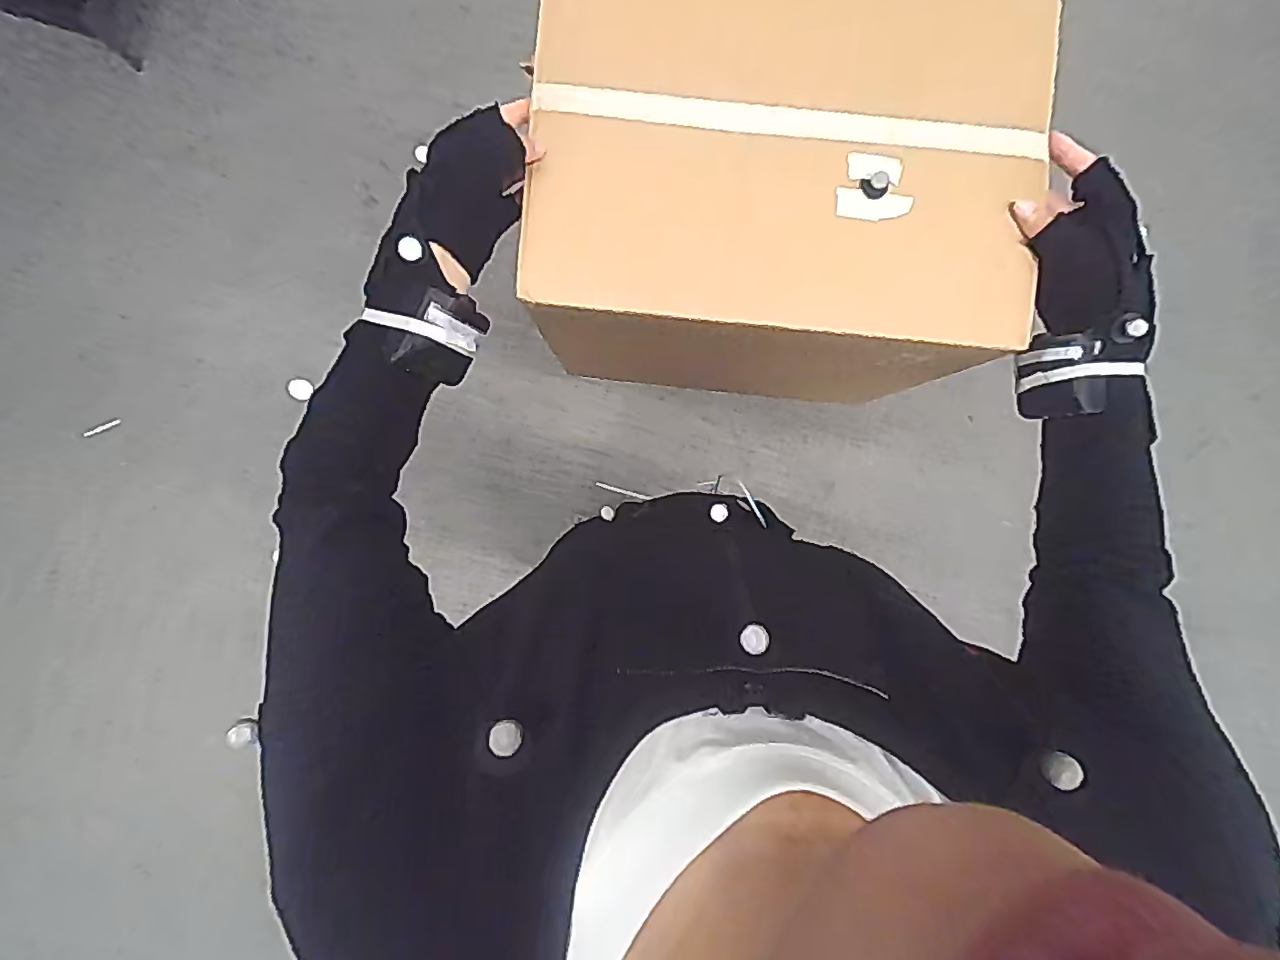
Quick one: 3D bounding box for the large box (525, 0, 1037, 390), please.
[{"bbox_3d":[0.111,-0.284,0.582,0.408,0.320,0.320,5,91,-1],"label":"large box"}]
